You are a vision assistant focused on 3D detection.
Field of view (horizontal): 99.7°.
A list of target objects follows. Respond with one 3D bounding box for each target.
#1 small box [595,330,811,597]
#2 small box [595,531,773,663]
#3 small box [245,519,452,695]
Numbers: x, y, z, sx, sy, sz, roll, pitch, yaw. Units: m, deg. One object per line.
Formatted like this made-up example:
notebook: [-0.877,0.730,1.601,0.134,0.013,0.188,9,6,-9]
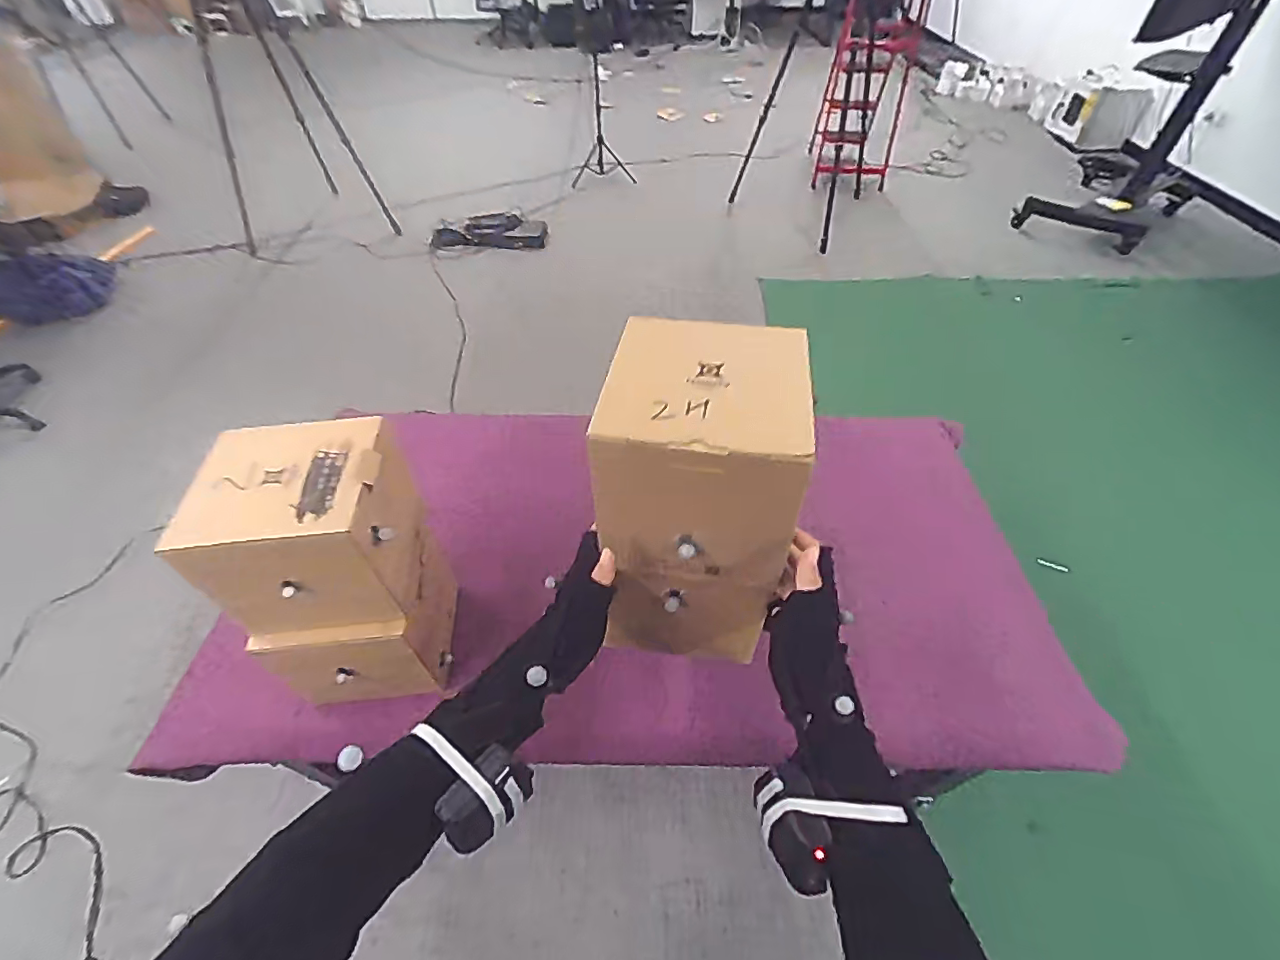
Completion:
small box: [0.059,-0.017,0.514,0.168,0.176,0.179,8,47,8]
small box: [0.052,0.097,0.633,0.179,0.176,0.168,6,46,6]
small box: [-0.364,0.171,0.720,0.179,0.176,0.168,-4,48,-4]
